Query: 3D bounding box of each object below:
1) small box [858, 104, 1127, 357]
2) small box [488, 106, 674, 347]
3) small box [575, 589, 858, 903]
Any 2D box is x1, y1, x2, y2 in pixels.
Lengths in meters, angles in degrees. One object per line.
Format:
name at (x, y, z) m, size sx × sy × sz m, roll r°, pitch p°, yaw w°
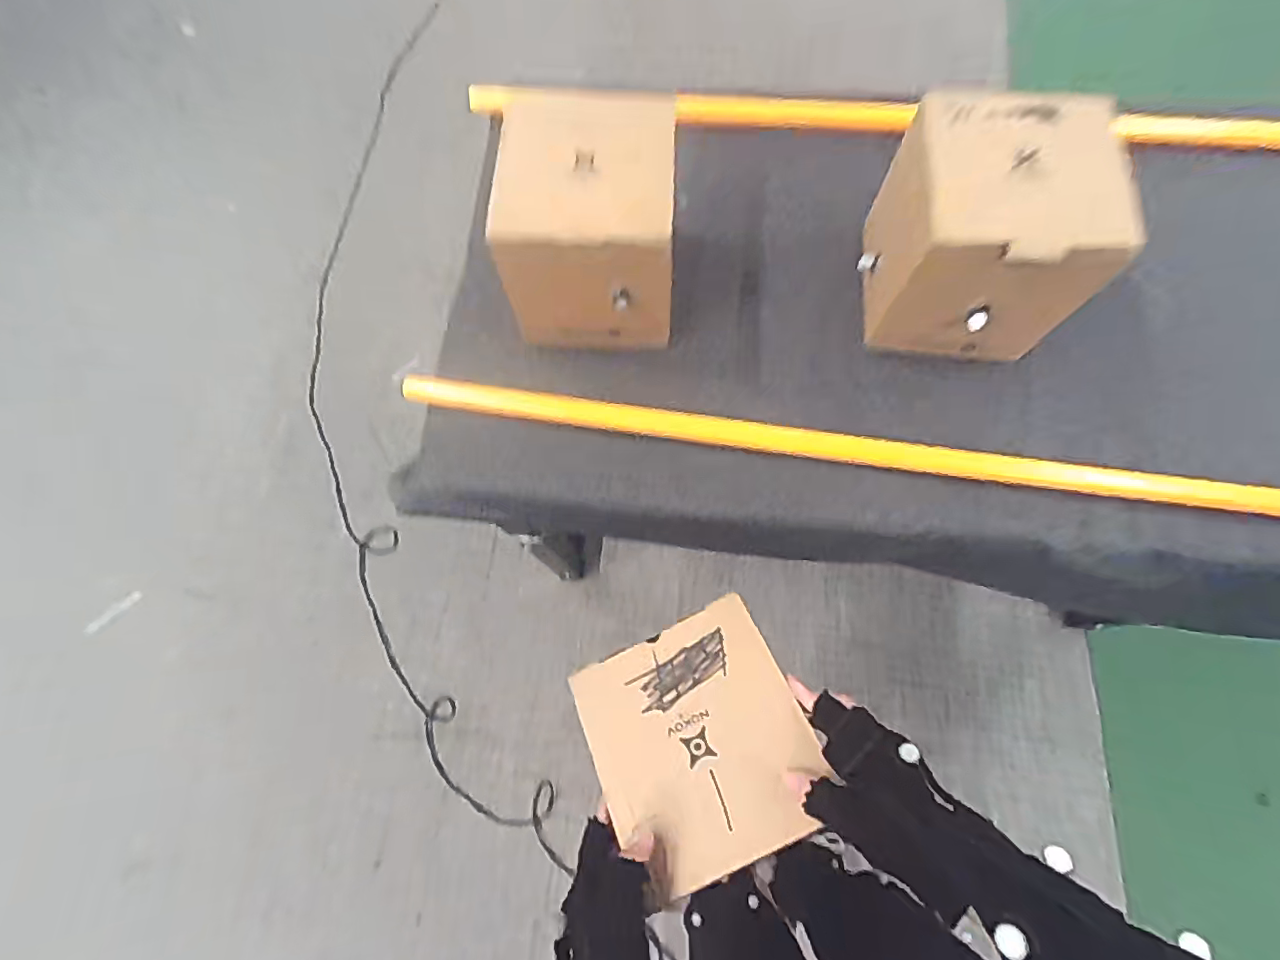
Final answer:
small box at (0.335, -0.243, 0.557) m, size 0.168 × 0.176 × 0.179 m, roll 3°, pitch 70°, yaw 5°
small box at (-0.049, -0.259, 0.579) m, size 0.168 × 0.176 × 0.179 m, roll 1°, pitch 69°, yaw 1°
small box at (0.067, 0.231, 0.476) m, size 0.168 × 0.176 × 0.179 m, roll -27°, pitch 54°, yaw 2°
